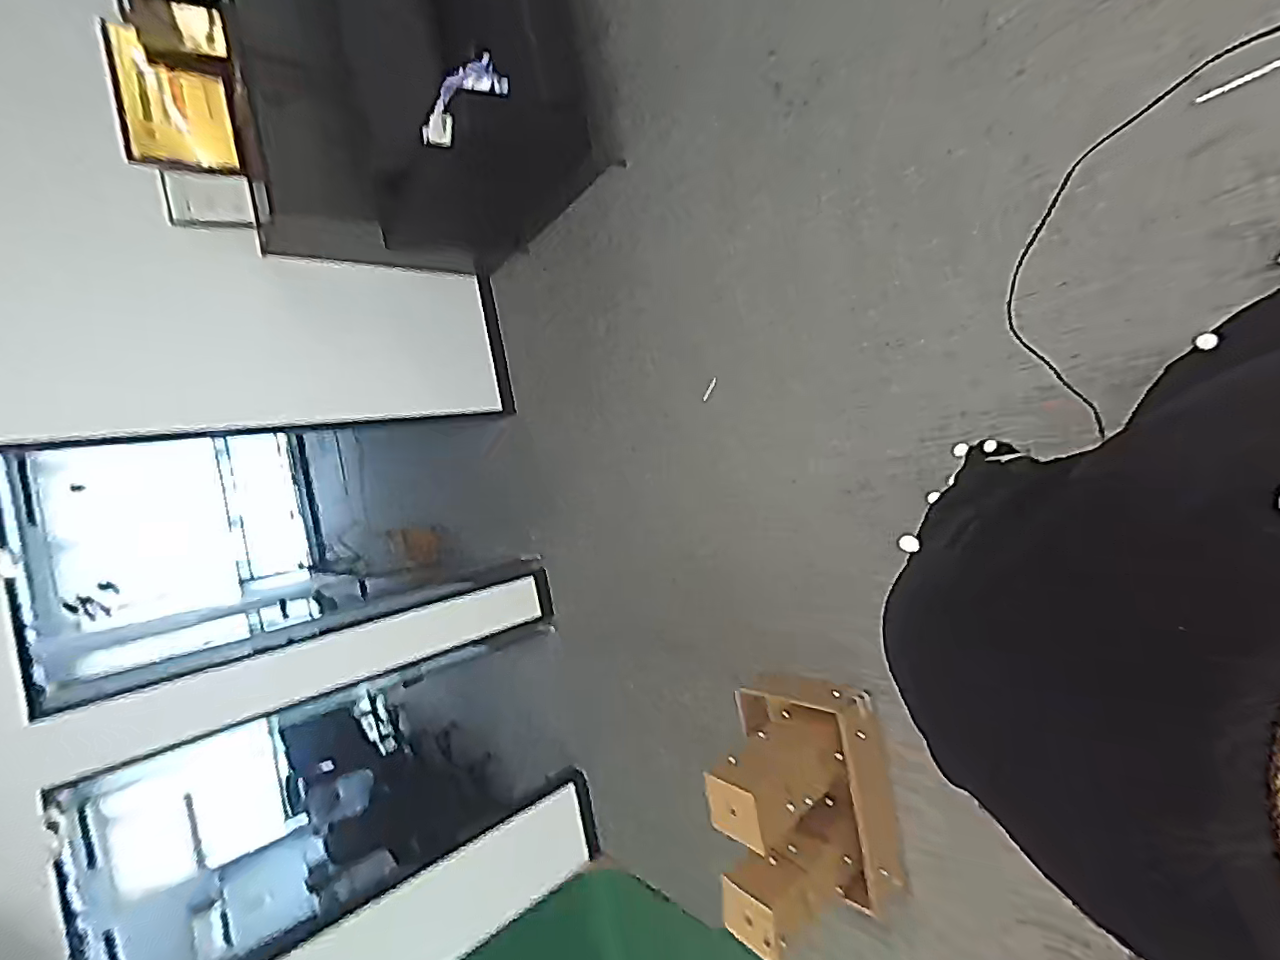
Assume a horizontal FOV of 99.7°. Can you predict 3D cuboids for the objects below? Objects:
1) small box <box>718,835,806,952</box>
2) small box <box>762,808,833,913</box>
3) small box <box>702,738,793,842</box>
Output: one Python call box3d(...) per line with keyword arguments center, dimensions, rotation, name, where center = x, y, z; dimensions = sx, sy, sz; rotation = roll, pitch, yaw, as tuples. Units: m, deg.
box3d(center=(0.343, 1.149, 1.525), dimensions=(0.179, 0.176, 0.168), rotation=(2, 100, 50), name="small box")
box3d(center=(0.467, 1.134, 1.633), dimensions=(0.179, 0.176, 0.168), rotation=(0, 97, 51), name="small box")
box3d(center=(0.302, 0.854, 1.514), dimensions=(0.179, 0.176, 0.168), rotation=(-5, 95, 50), name="small box")
